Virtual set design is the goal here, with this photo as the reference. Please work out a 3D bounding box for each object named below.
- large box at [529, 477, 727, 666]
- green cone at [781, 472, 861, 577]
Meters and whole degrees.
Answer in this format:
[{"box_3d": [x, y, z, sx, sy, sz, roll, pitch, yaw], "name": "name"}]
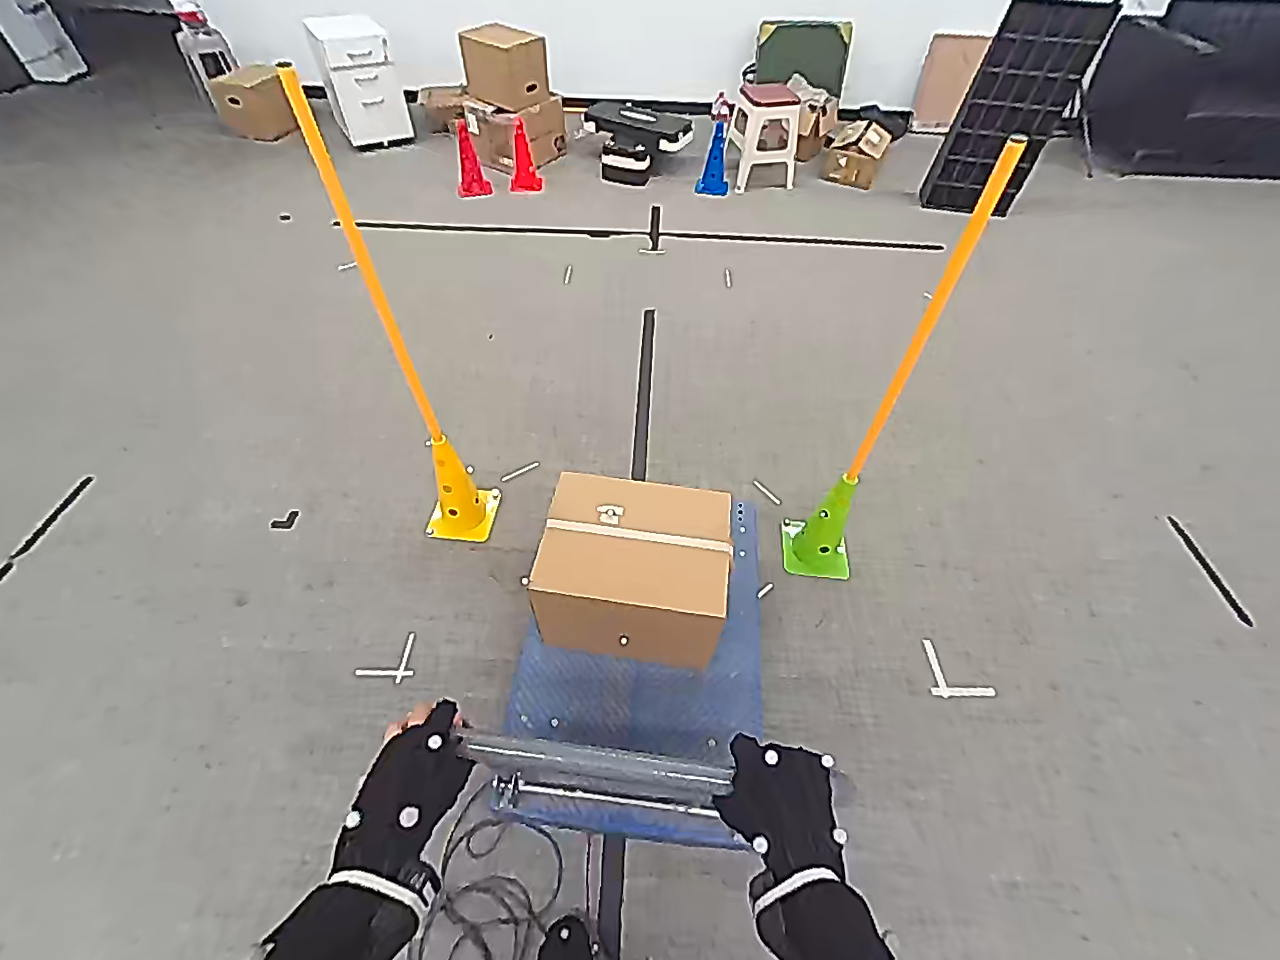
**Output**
[{"box_3d": [-0.012, 0.225, 1.299, 0.408, 0.320, 0.320, 7, 51, 5], "name": "large box"}, {"box_3d": [0.564, 0.109, 1.598, 0.202, 0.368, 0.200, 7, 51, 2], "name": "green cone"}]
